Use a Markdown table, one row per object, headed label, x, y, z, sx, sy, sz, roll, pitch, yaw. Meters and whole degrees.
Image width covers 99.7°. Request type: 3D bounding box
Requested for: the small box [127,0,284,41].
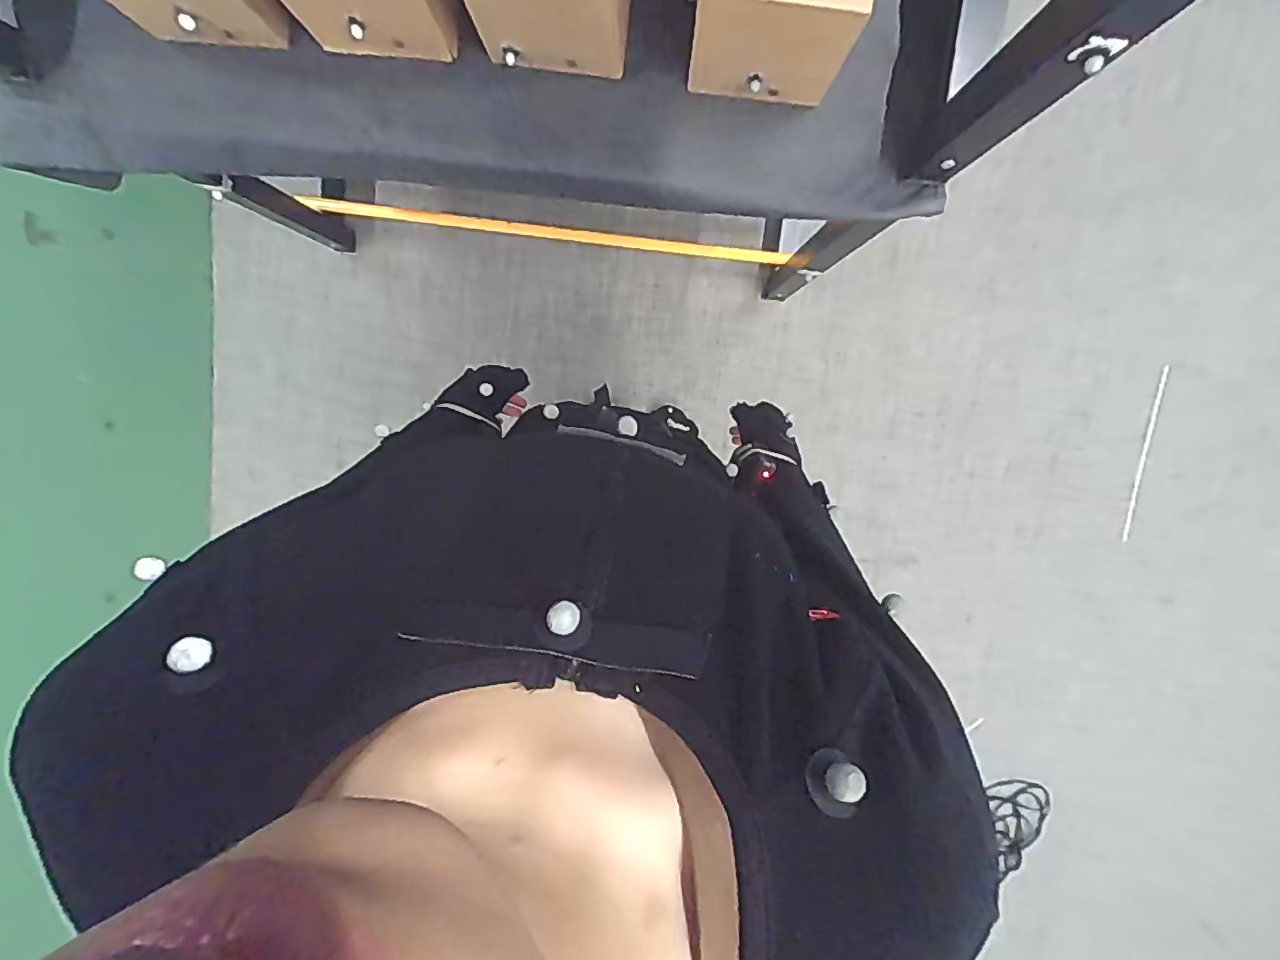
| label | x | y | z | sx | sy | sz | roll | pitch | yaw |
| --- | --- | --- | --- | --- | --- | --- | --- | --- | --- |
| small box | -0.508 | -0.618 | 0.569 | 0.168 | 0.176 | 0.179 | 4 | 99 | 0 |
